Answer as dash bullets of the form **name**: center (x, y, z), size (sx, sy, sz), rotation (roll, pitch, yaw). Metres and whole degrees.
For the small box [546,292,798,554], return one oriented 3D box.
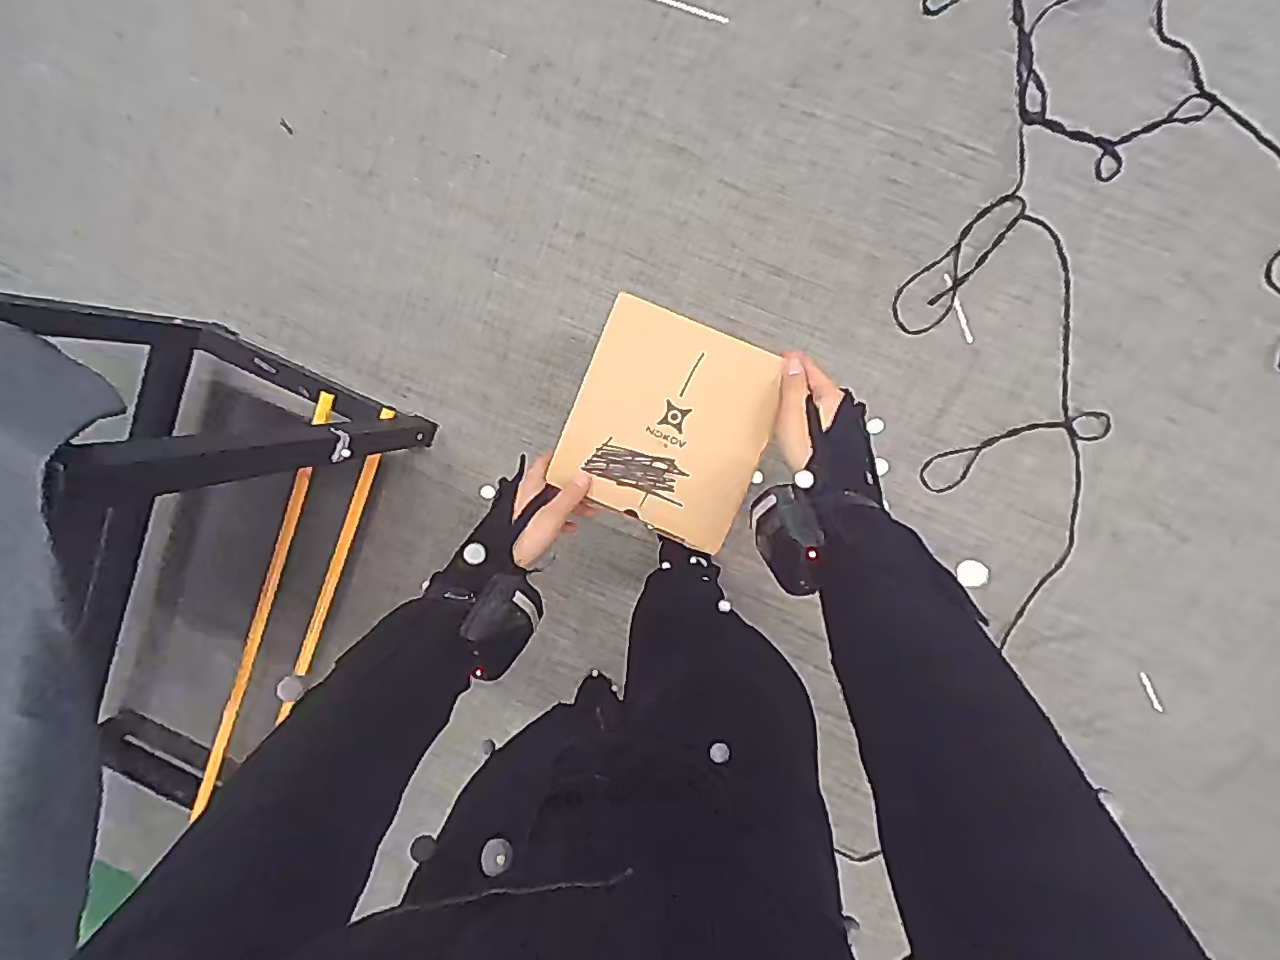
- **small box**: center (0.032, -0.054, 0.535), size (0.168, 0.176, 0.179), rotation (24, 97, 2)
